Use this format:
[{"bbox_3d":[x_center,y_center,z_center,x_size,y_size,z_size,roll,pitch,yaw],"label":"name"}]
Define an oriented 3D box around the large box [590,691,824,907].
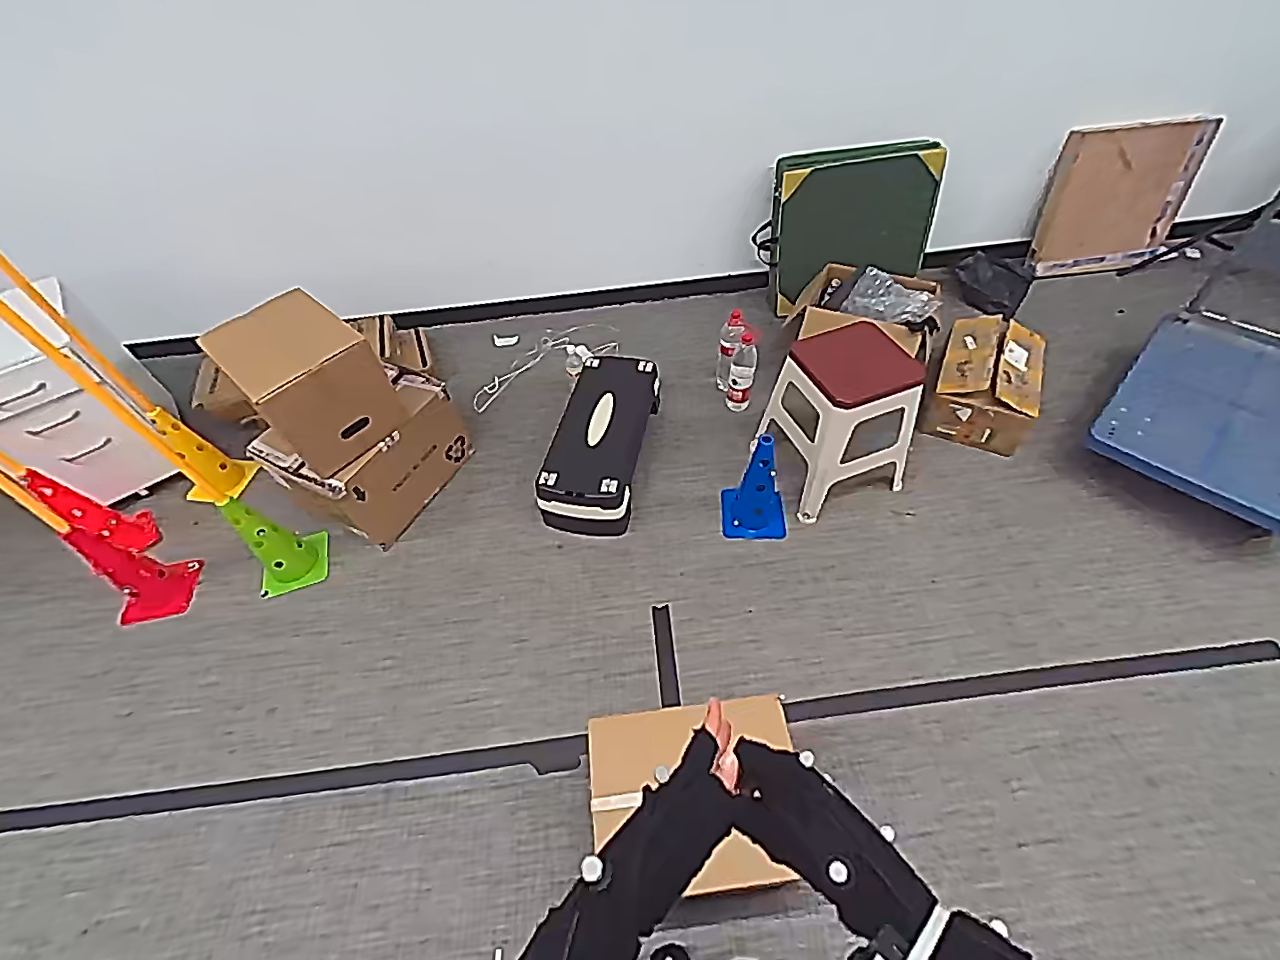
[{"bbox_3d":[0.117,0.683,1.154,0.408,0.320,0.320,-7,52,-3],"label":"large box"}]
